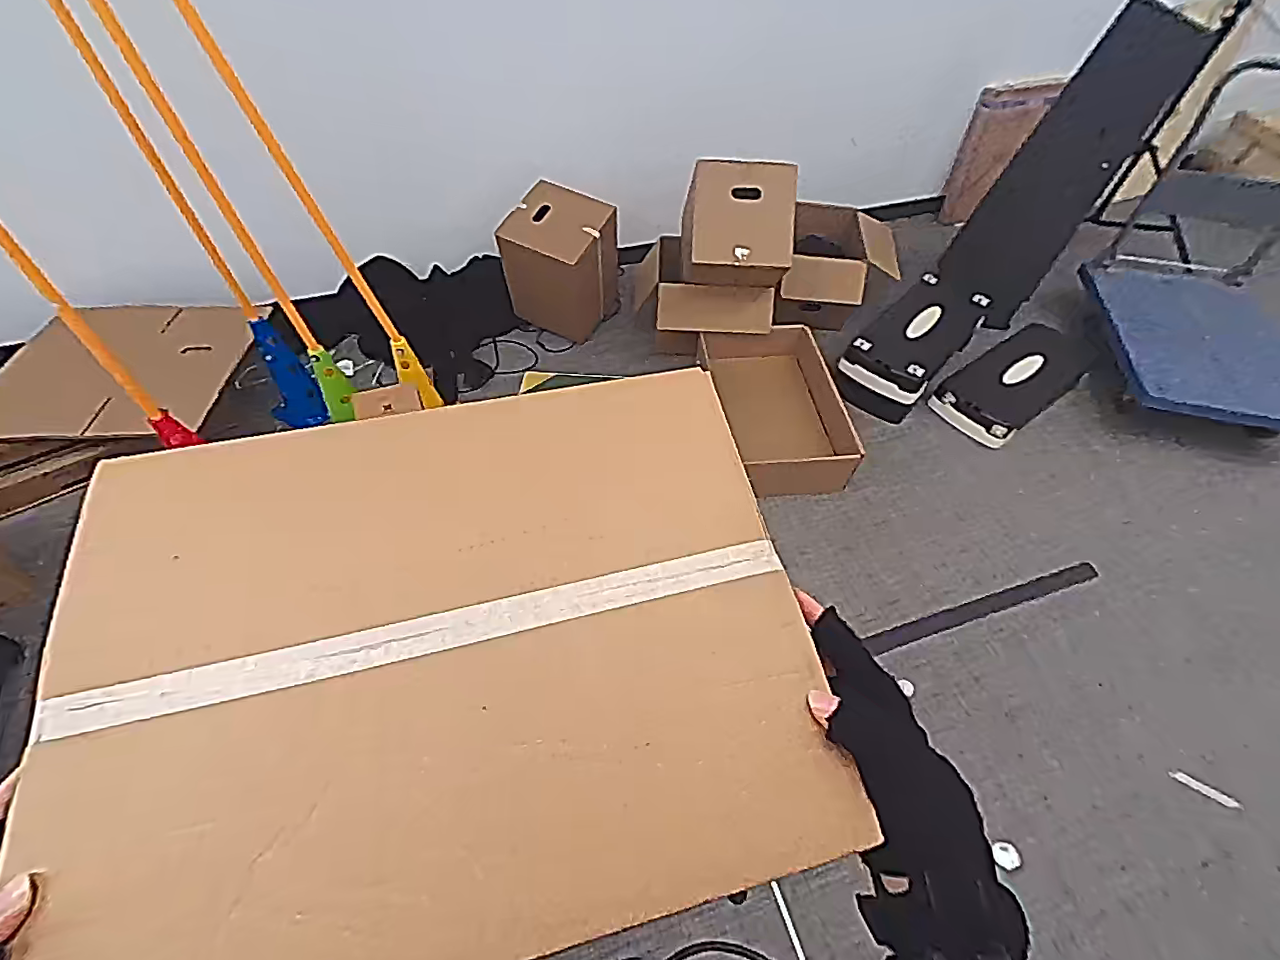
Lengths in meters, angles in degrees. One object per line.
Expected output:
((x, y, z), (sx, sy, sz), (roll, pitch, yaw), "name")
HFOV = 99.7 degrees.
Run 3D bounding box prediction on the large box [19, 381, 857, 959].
((-0.117, 0.160, 0.449), (0.408, 0.320, 0.320), (-11, 64, -9), "large box")
